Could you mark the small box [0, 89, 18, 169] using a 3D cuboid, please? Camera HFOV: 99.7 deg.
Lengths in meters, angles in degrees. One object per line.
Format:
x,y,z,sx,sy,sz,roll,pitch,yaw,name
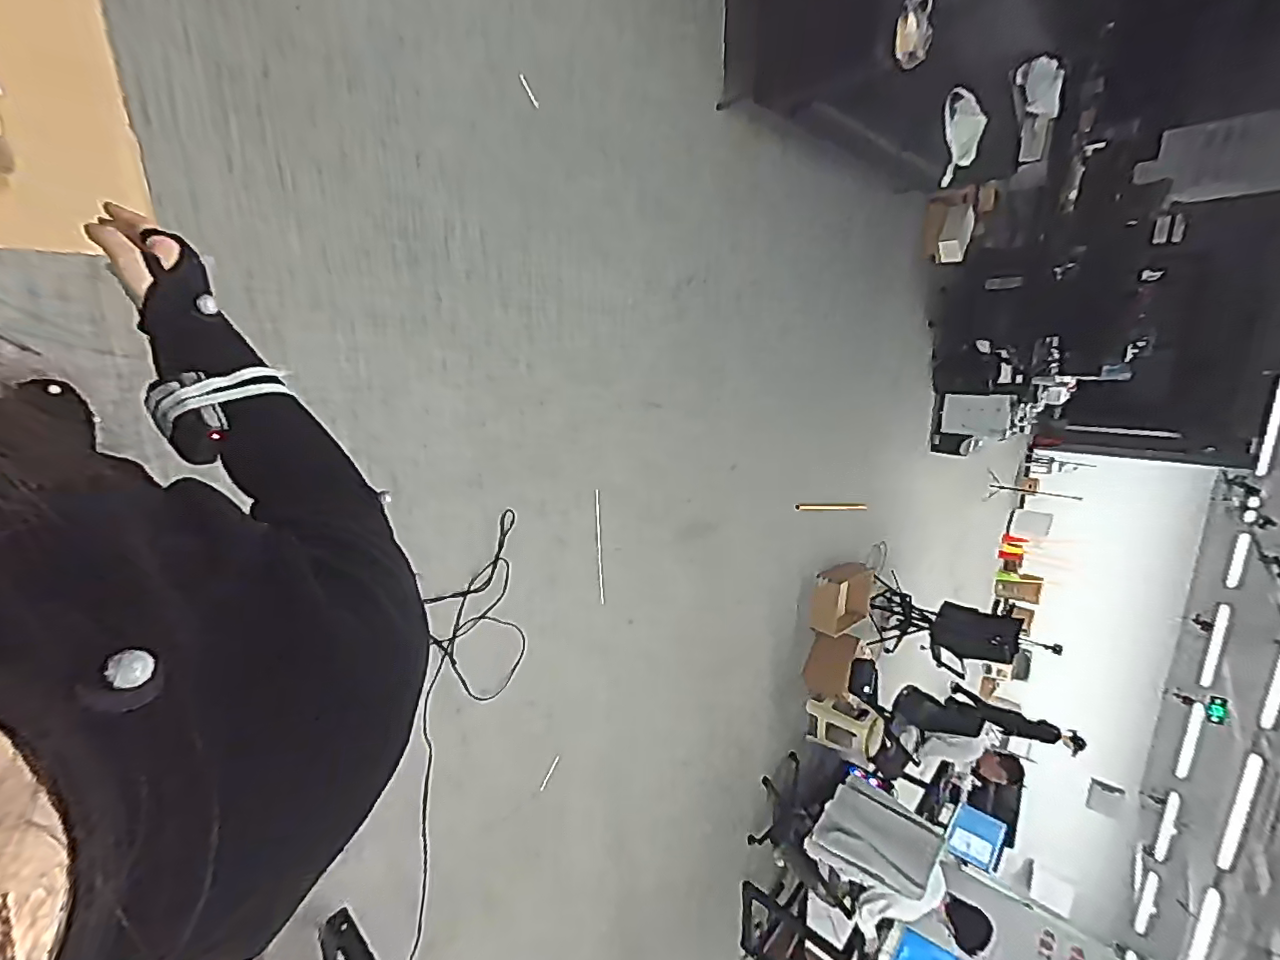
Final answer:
-0.638,-0.366,0.423,0.168,0.176,0.179,-17,111,-43,small box
